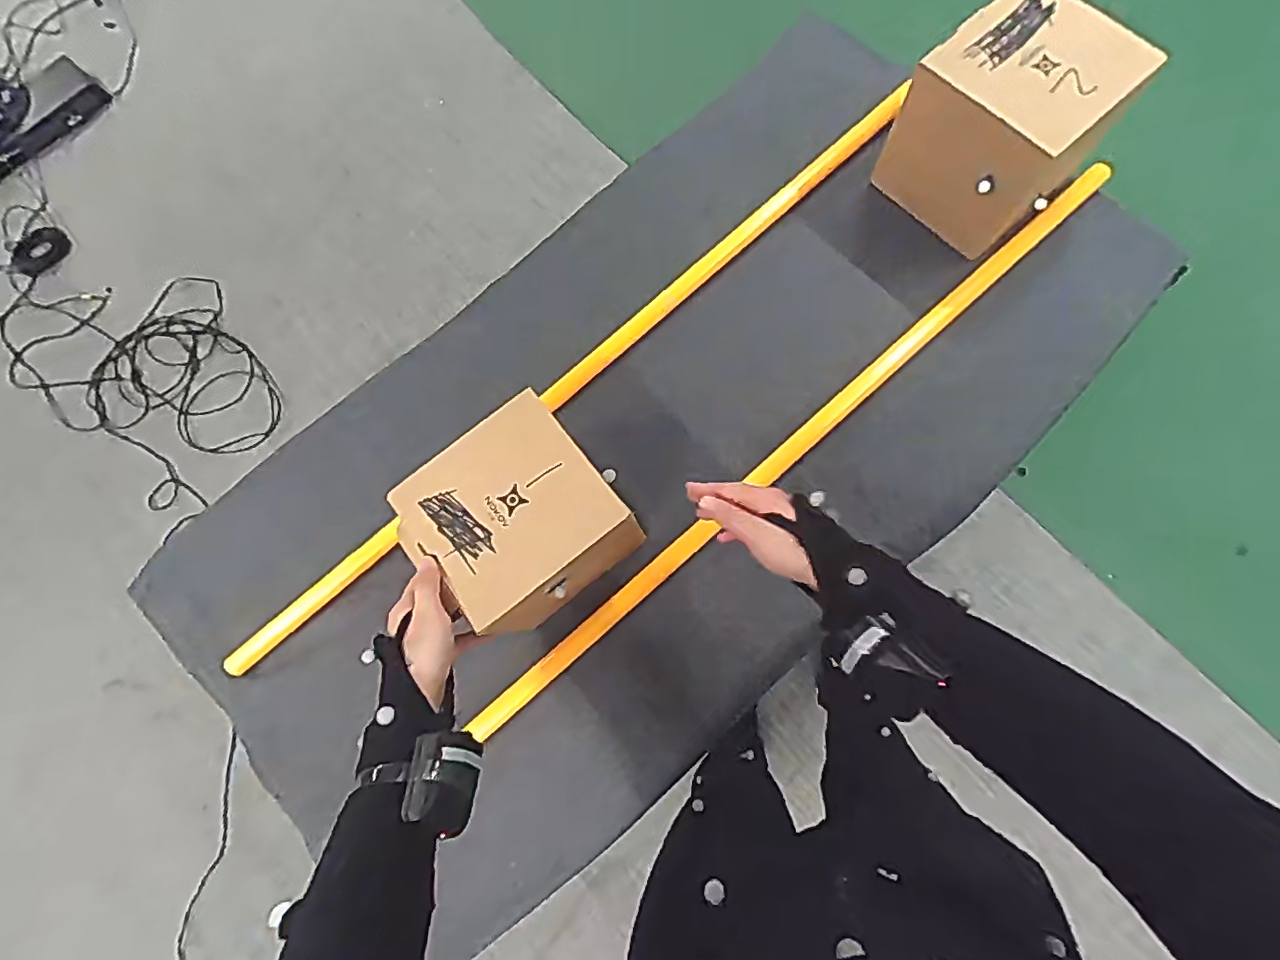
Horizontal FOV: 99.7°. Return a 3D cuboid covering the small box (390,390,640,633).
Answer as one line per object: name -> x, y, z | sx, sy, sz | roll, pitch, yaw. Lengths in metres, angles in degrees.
small box -> -0.116, 0.043, 0.577 | 0.179, 0.176, 0.168 | -38, 77, -5
